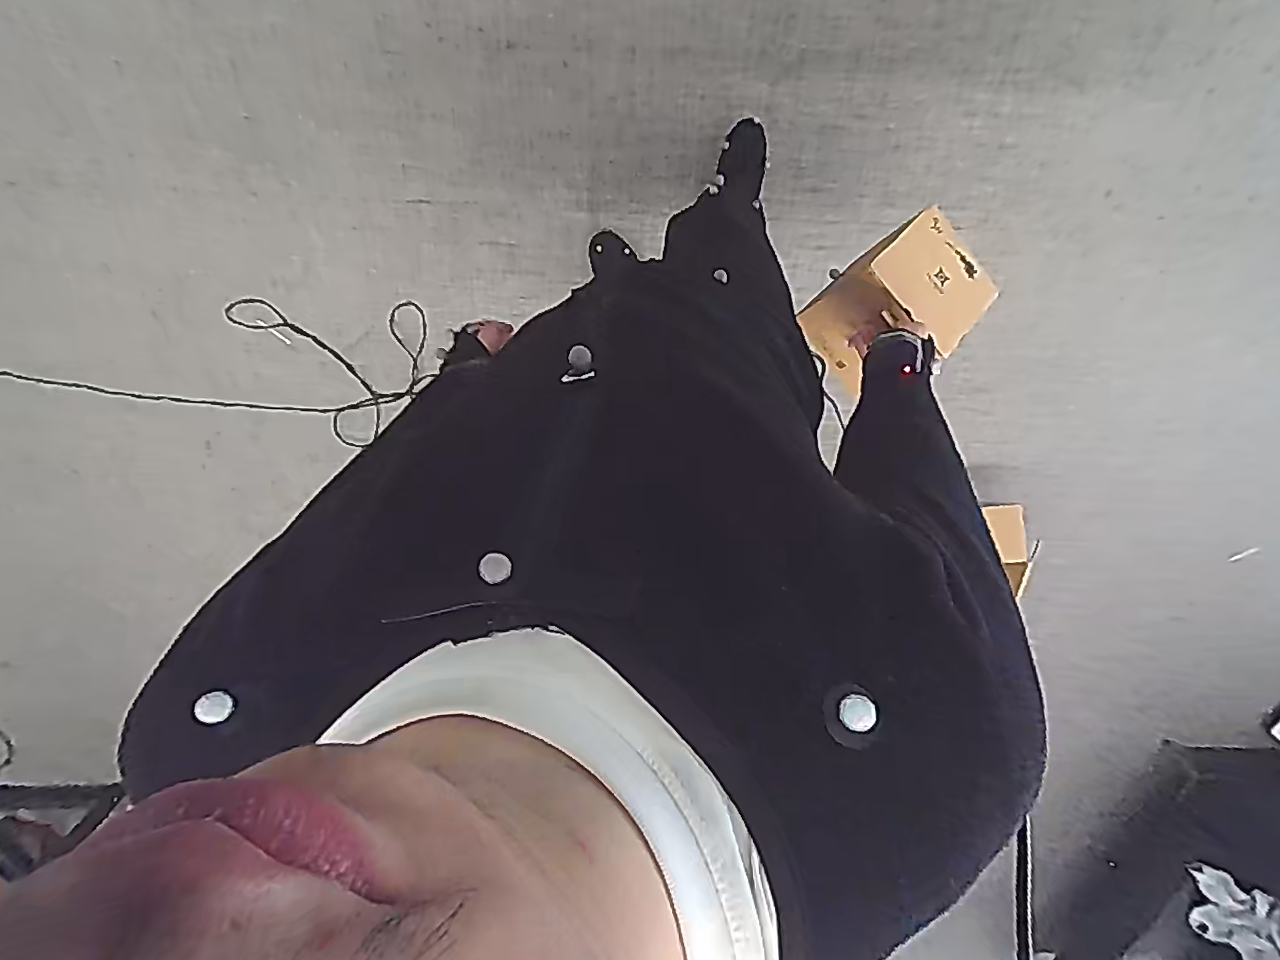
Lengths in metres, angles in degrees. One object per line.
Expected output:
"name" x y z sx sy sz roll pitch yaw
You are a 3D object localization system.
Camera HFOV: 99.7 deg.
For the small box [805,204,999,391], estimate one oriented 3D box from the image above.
"small box" 0.376 -0.260 0.807 0.179 0.176 0.168 -43 98 -21
